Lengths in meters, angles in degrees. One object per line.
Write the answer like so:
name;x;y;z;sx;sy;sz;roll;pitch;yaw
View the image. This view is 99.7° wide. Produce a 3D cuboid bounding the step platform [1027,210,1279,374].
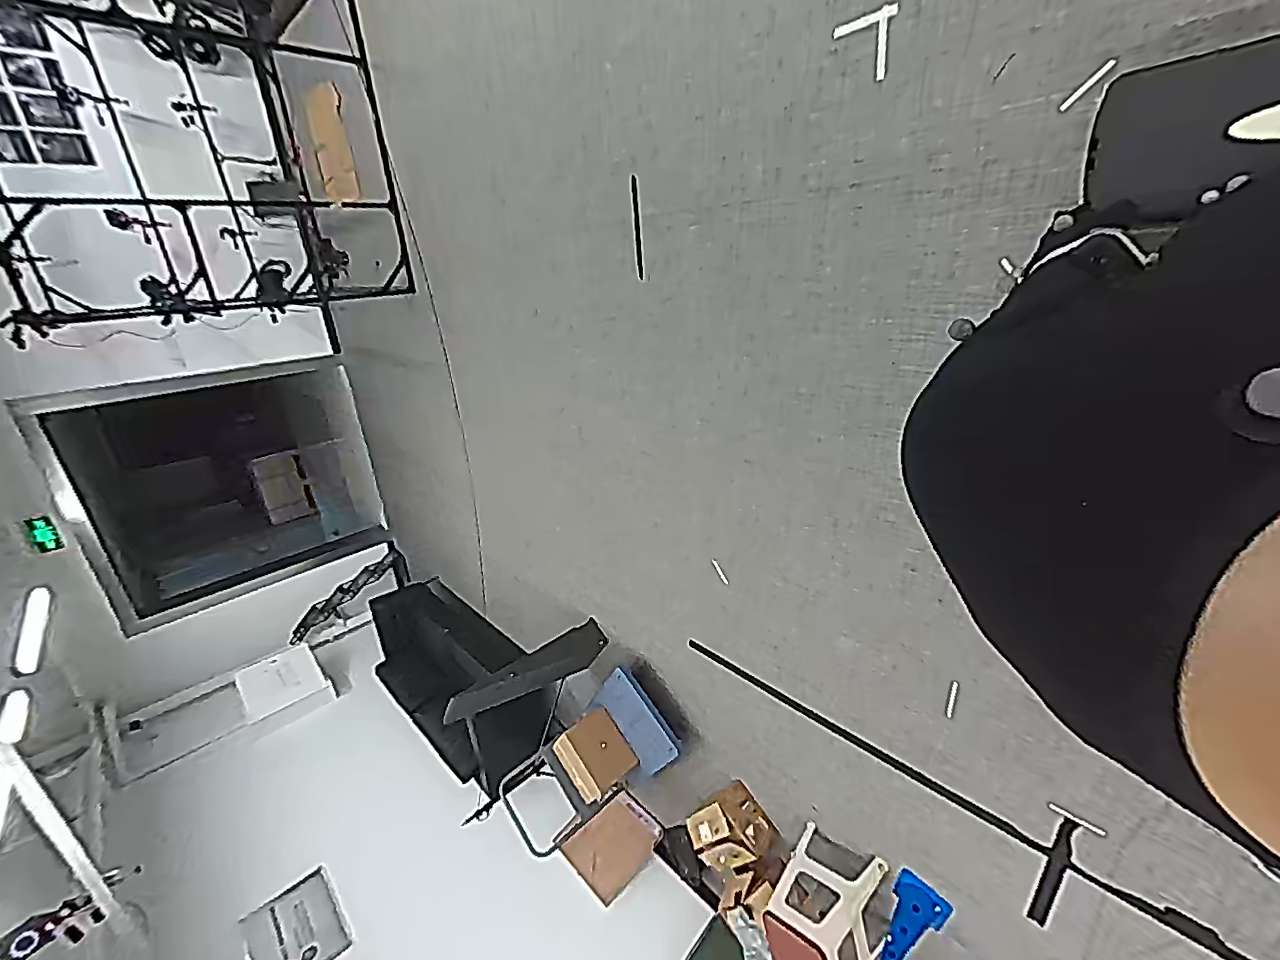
step platform;1.164;-0.359;1.035;0.684;0.204;0.286;18;121;45
